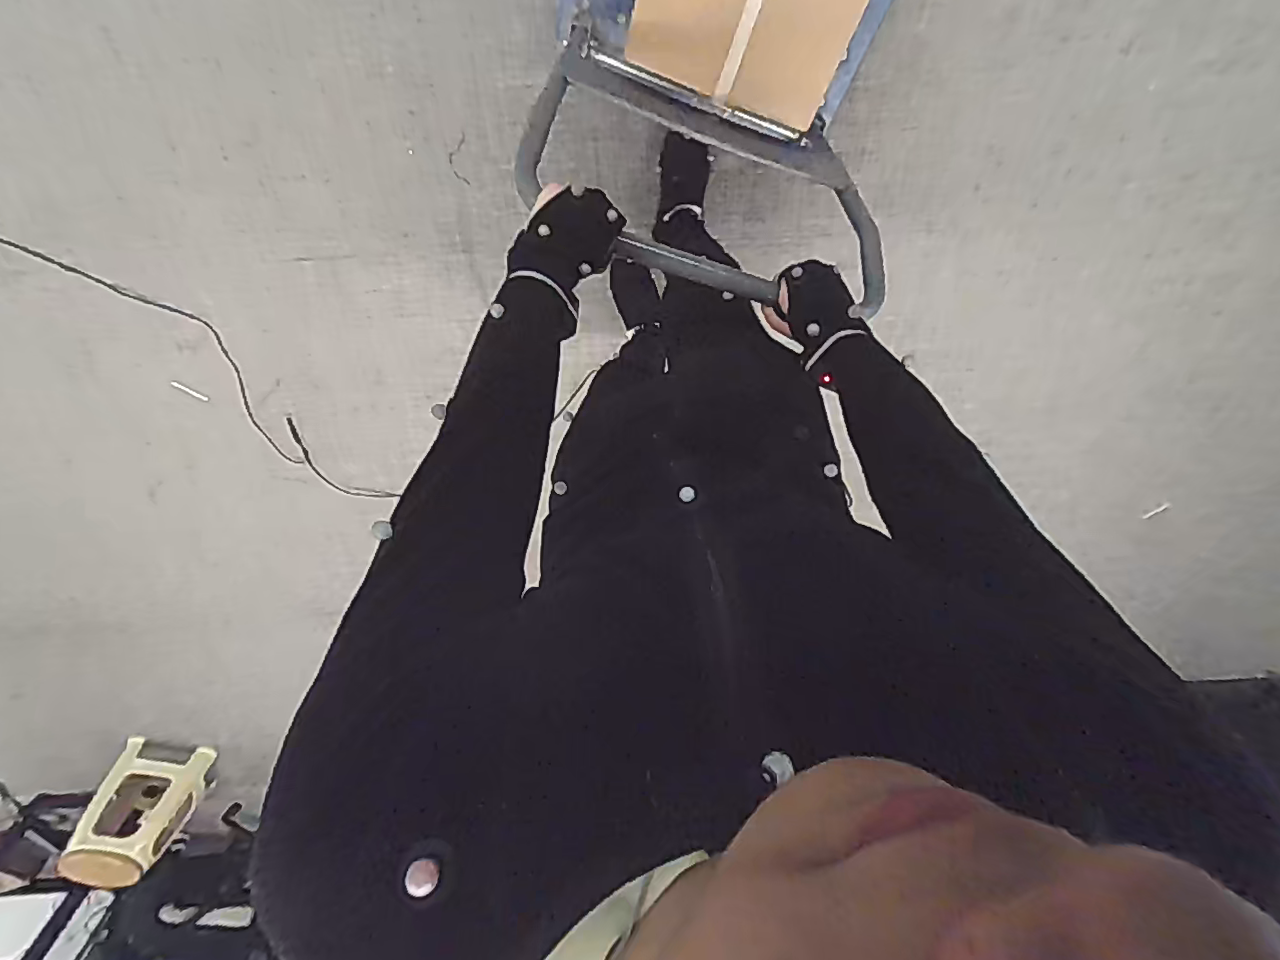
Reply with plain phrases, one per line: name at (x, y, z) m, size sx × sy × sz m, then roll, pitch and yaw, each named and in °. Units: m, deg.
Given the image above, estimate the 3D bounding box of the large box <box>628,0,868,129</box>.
large box at (0.186, -0.831, 0.814) m, size 0.320 × 0.320 × 0.408 m, roll 13°, pitch 133°, yaw -11°
